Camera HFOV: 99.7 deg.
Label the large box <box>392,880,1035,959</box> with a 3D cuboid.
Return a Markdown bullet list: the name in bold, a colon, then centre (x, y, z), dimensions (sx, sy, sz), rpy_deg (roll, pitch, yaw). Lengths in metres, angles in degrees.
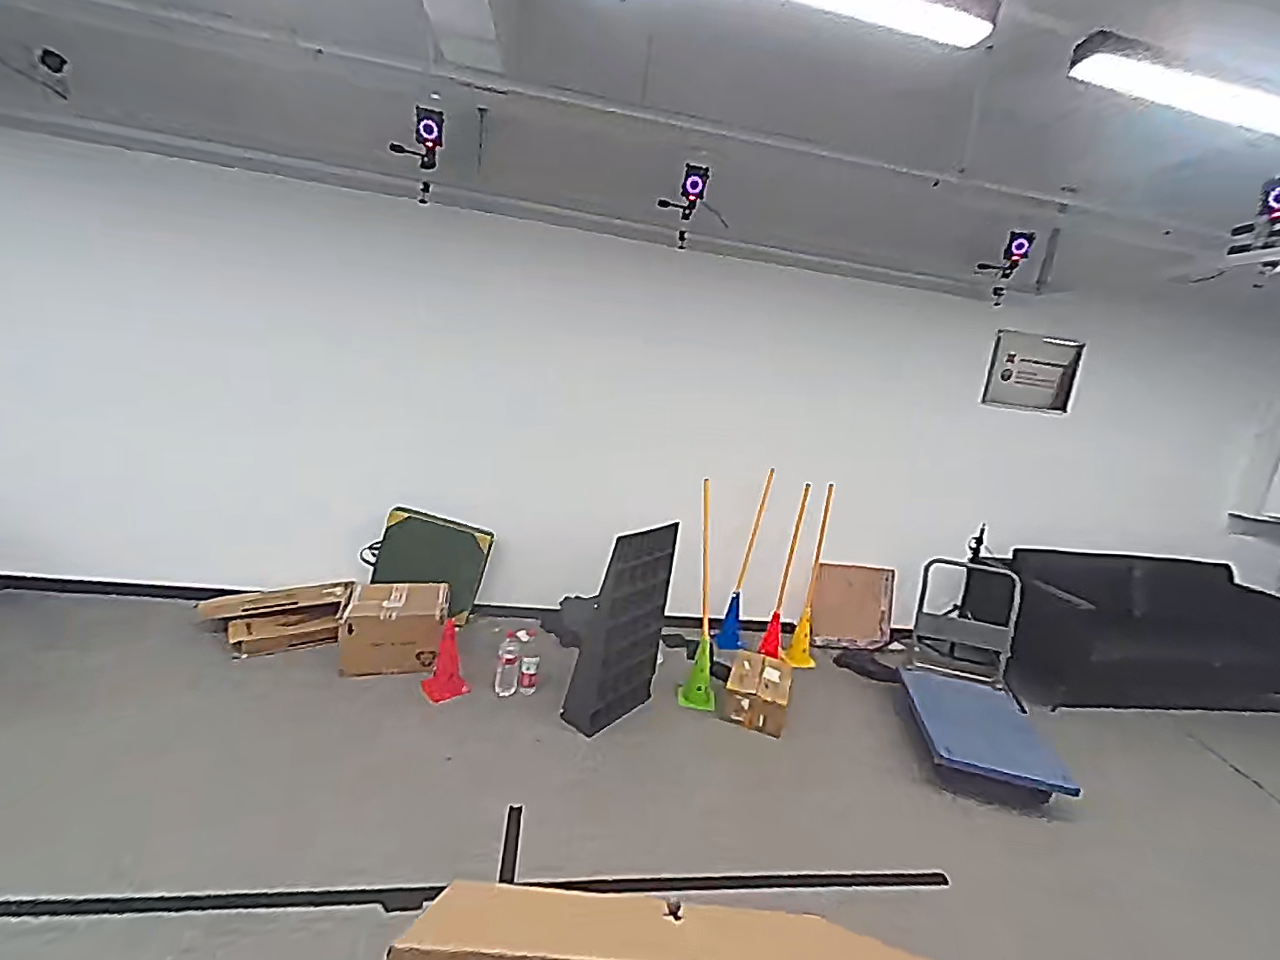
- **large box**: centre (0.024, 0.480, 0.363), dimensions (0.408, 0.320, 0.320), rpy_deg (10, -31, -7)
